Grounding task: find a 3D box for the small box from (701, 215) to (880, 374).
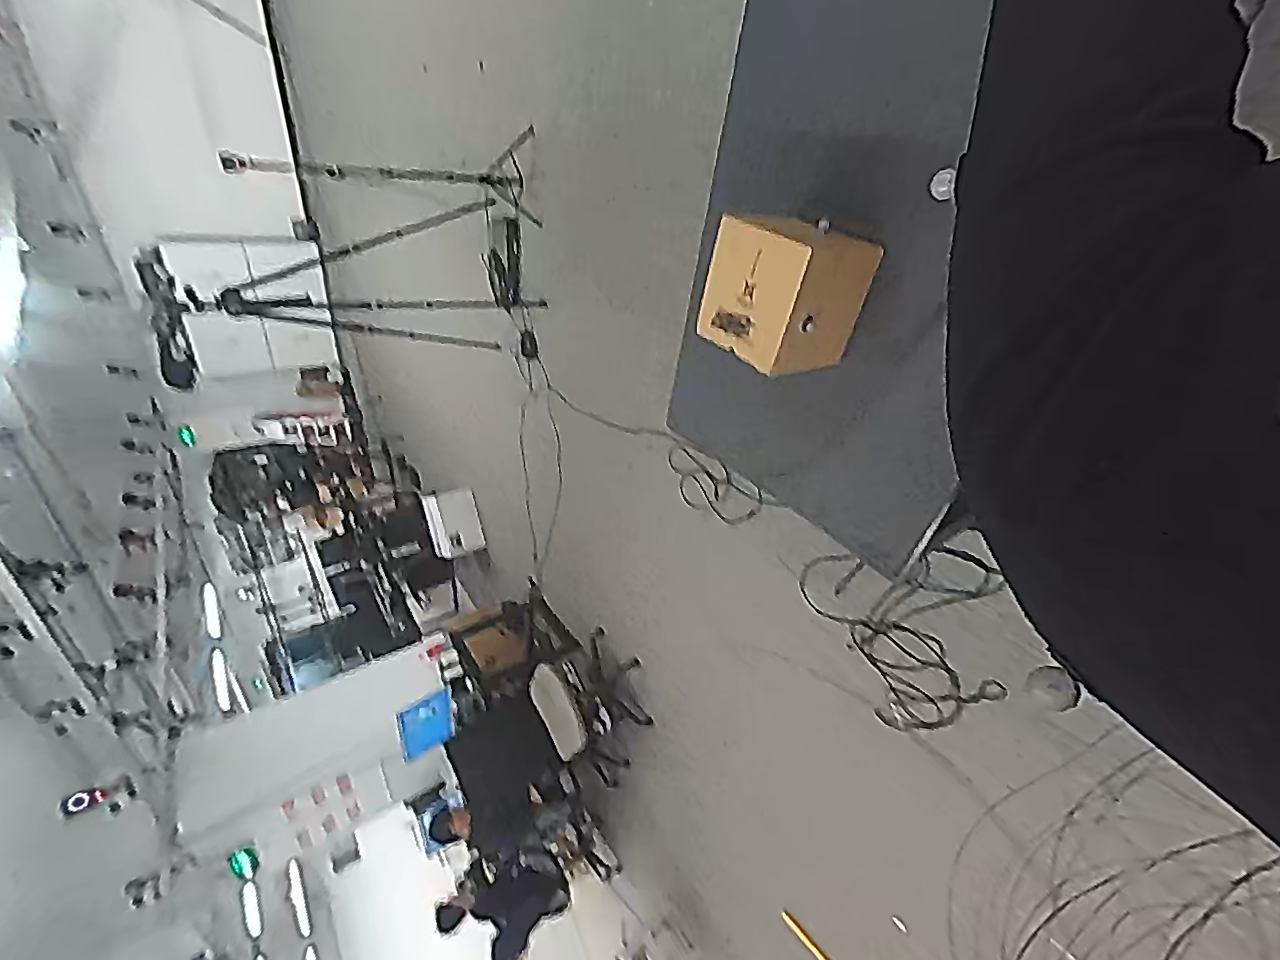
[{"bbox_3d":[0.222,-0.279,0.806,0.168,0.176,0.179,42,134,37],"label":"small box"}]
